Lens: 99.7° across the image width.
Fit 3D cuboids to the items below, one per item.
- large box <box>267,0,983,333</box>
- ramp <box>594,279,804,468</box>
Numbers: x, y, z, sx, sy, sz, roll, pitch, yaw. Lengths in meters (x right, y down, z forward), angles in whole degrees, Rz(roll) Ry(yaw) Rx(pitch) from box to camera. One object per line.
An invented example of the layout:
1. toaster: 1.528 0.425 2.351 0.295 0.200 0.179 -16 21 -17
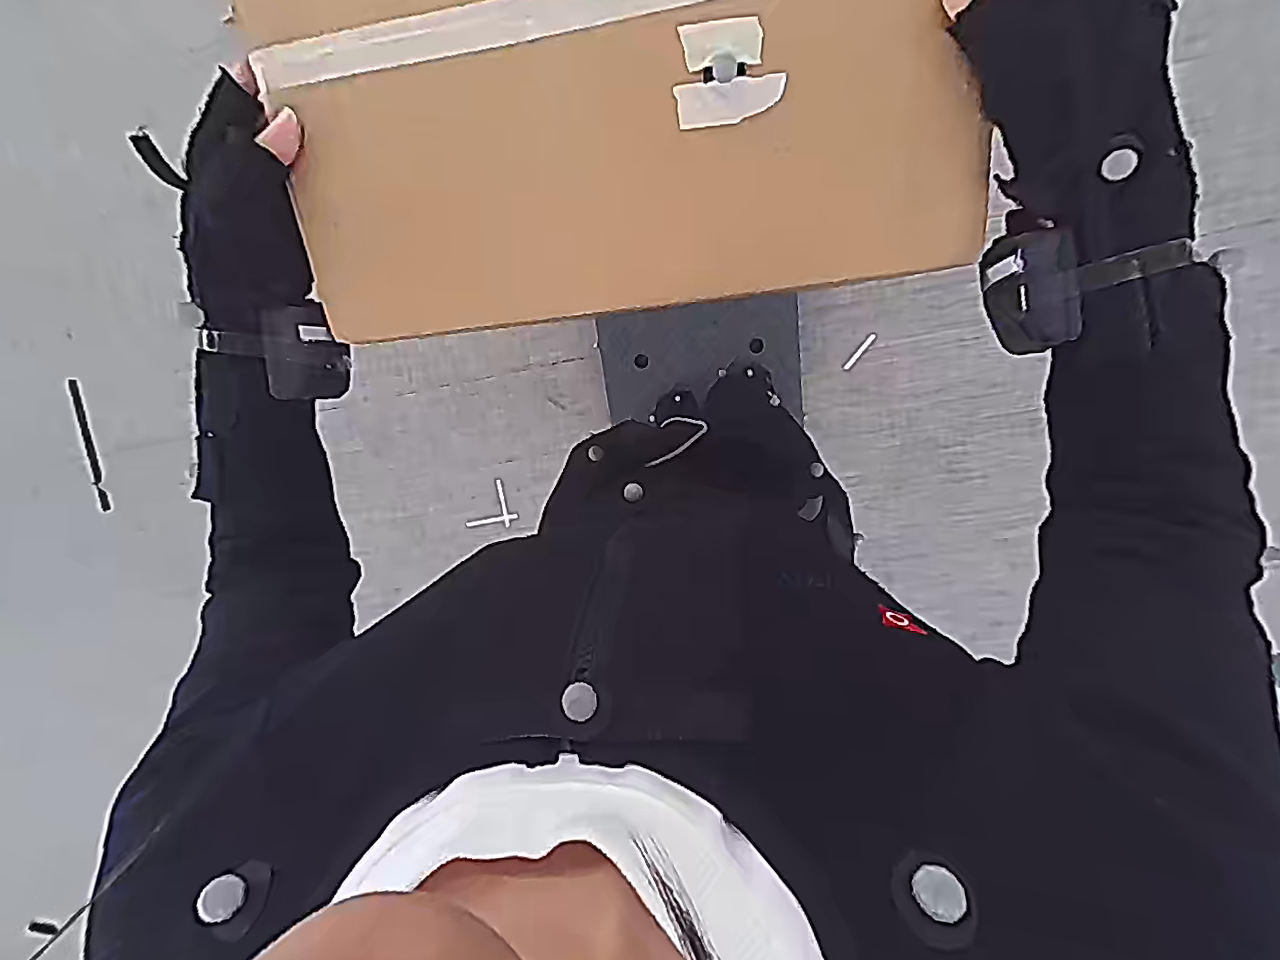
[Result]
1. large box: -0.006 -0.311 0.442 0.408 0.320 0.320 -5 108 7
2. ramp: 0.117 -0.525 1.279 0.509 0.206 0.991 -8 98 7
